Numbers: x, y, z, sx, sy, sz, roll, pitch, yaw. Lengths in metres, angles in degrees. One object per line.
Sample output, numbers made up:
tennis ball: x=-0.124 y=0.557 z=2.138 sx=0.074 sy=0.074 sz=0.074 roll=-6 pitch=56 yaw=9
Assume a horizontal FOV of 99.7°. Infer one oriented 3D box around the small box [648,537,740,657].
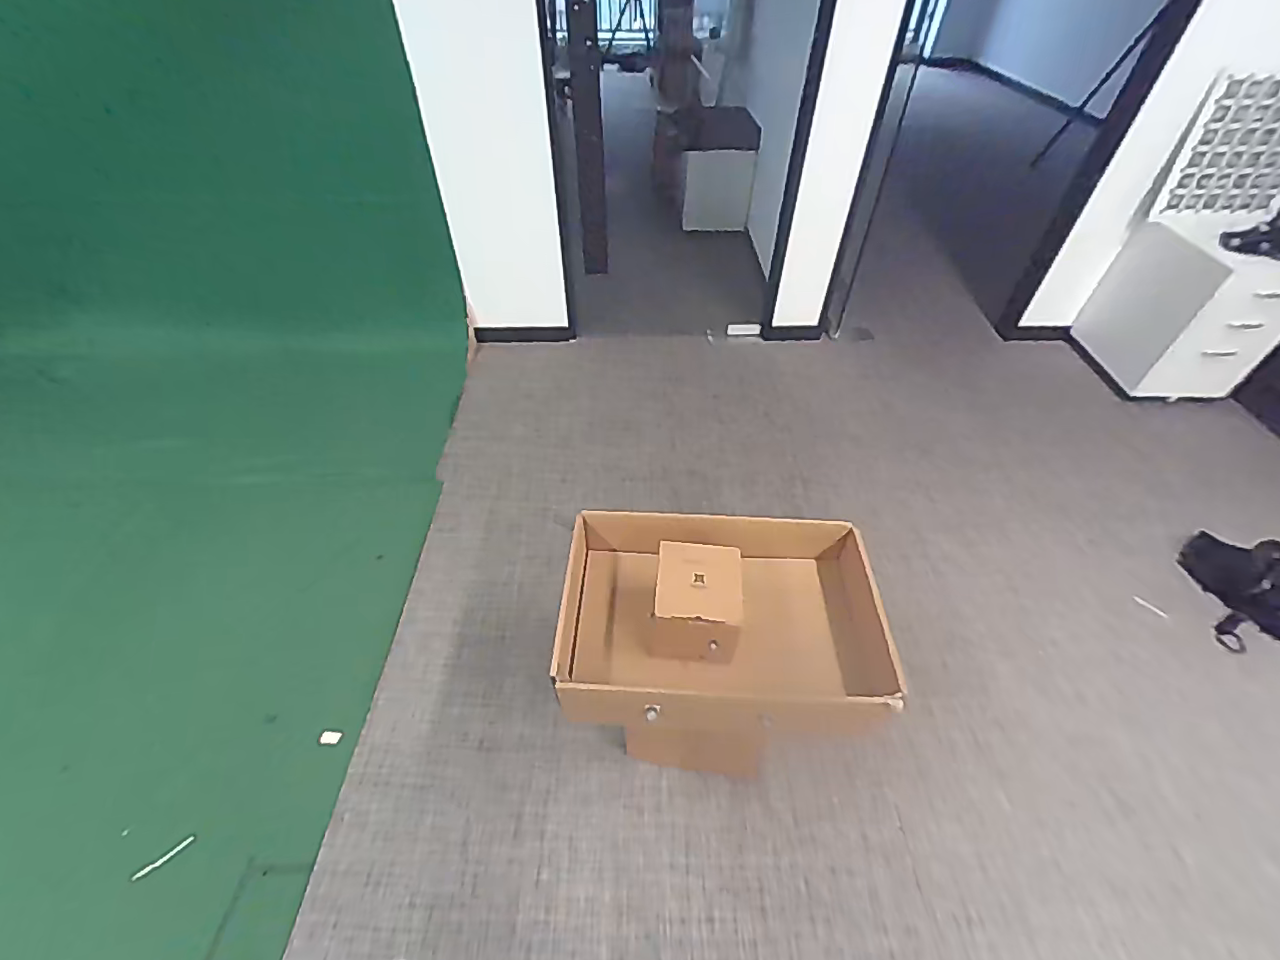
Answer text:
small box: x=0.107 y=0.242 z=1.104 sx=0.168 sy=0.176 sz=0.179 roll=6 pitch=45 yaw=1
